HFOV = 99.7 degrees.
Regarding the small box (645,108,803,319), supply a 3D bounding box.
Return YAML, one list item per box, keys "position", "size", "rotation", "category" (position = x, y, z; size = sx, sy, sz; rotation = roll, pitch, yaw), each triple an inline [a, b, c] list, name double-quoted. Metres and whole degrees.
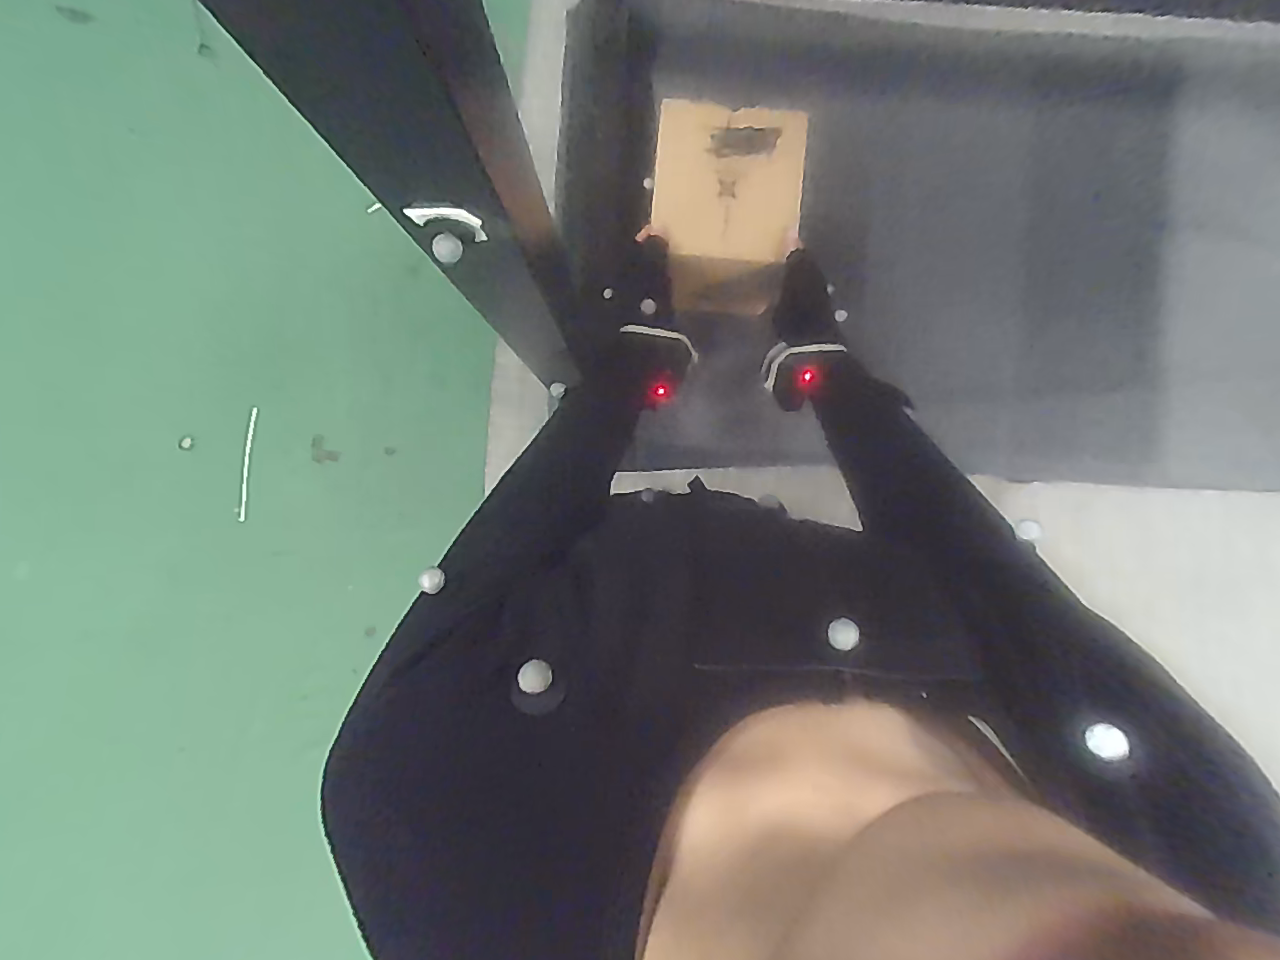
- position: [0.095, -0.322, 0.684]
  size: [0.168, 0.176, 0.179]
  rotation: [5, 88, 0]
  category: "small box"
